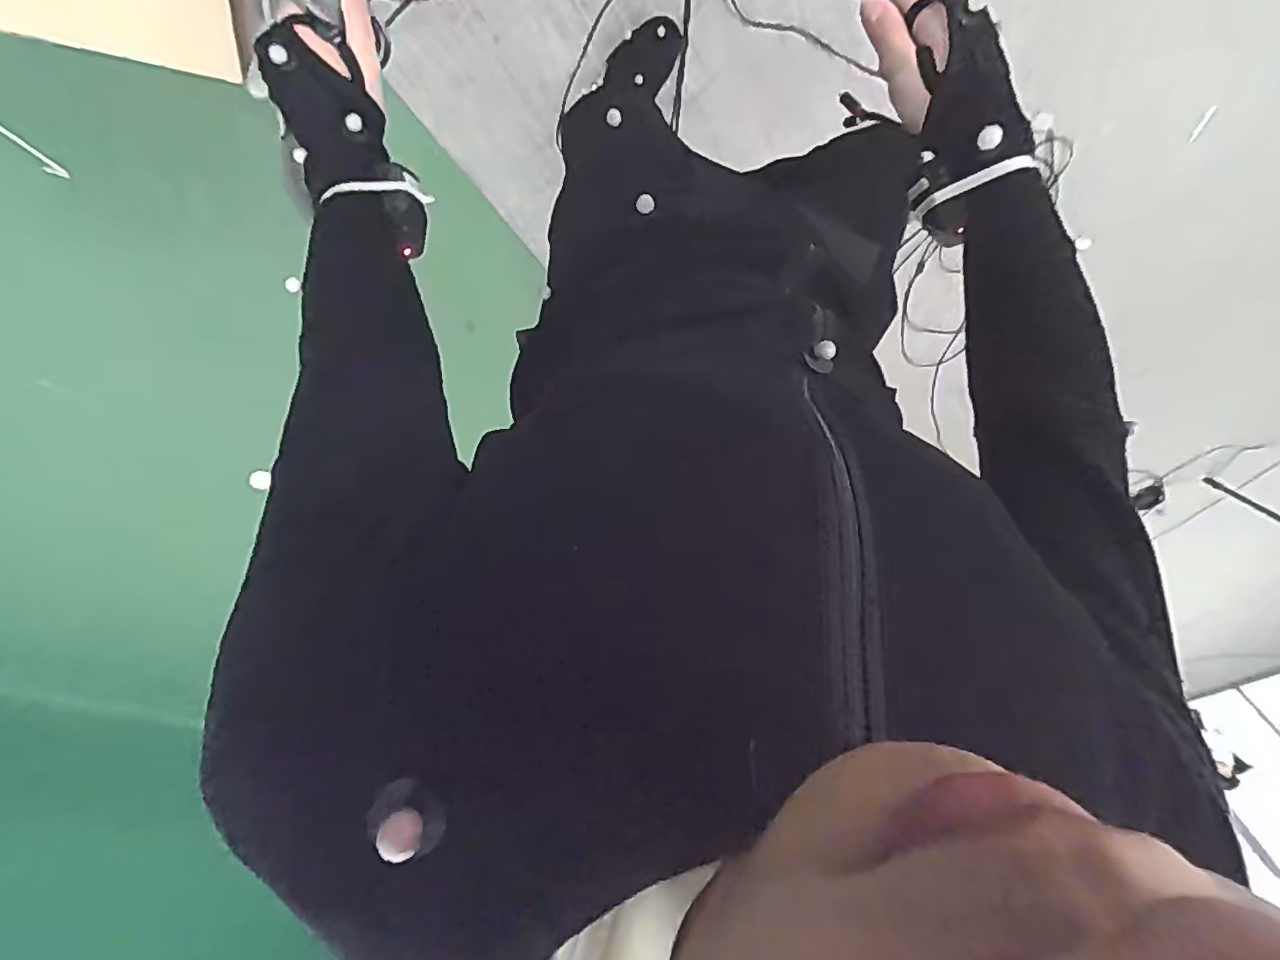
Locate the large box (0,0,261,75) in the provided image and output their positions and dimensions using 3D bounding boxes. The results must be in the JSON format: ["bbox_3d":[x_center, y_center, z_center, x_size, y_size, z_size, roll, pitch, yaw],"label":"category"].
[{"bbox_3d":[-0.720,-0.748,0.629,0.408,0.320,0.320,-3,140,-26],"label":"large box"}]
